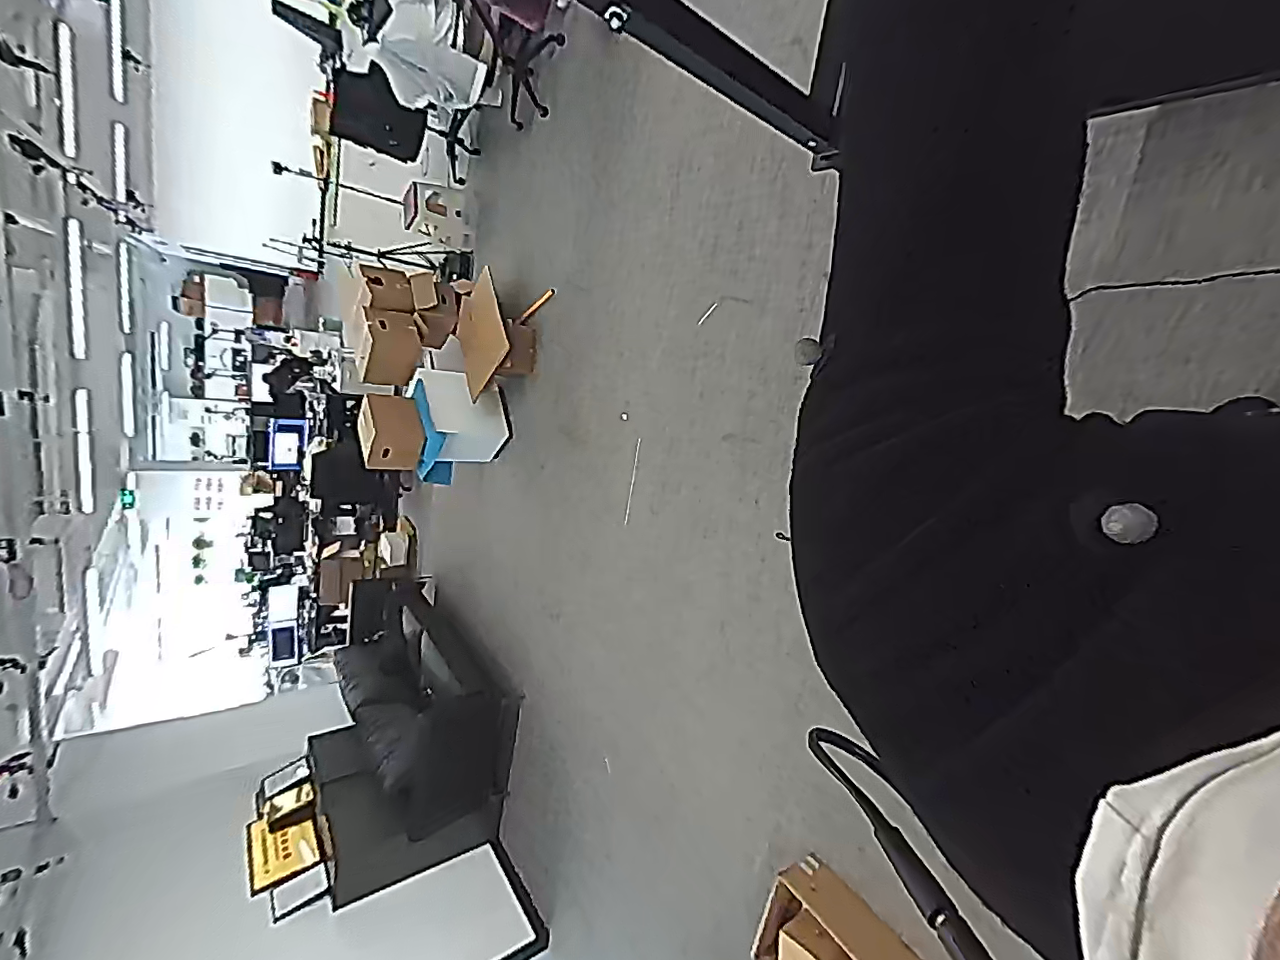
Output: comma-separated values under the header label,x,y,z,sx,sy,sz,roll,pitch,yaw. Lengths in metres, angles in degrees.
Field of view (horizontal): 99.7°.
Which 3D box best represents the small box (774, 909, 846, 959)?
label,x,y,z,sx,sy,sz,roll,pitch,yaw
small box,0.562,1.577,1.782,0.168,0.176,0.179,4,93,51
